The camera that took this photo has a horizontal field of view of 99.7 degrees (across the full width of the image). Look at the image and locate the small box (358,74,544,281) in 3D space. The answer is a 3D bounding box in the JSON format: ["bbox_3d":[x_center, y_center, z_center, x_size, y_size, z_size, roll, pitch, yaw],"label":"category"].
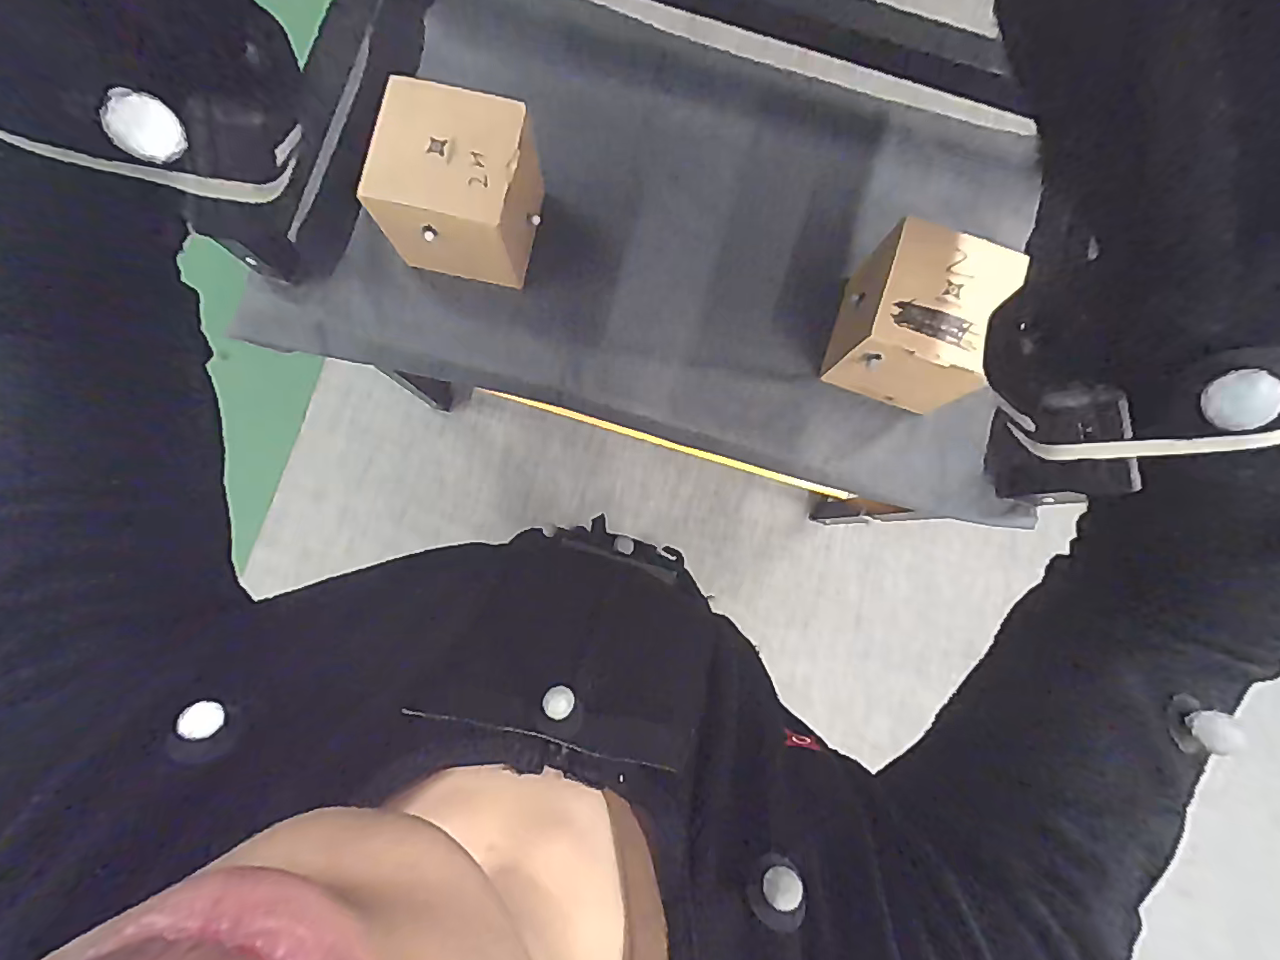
[{"bbox_3d":[-0.241,-0.395,0.736,0.179,0.176,0.168,12,84,-2],"label":"small box"}]
